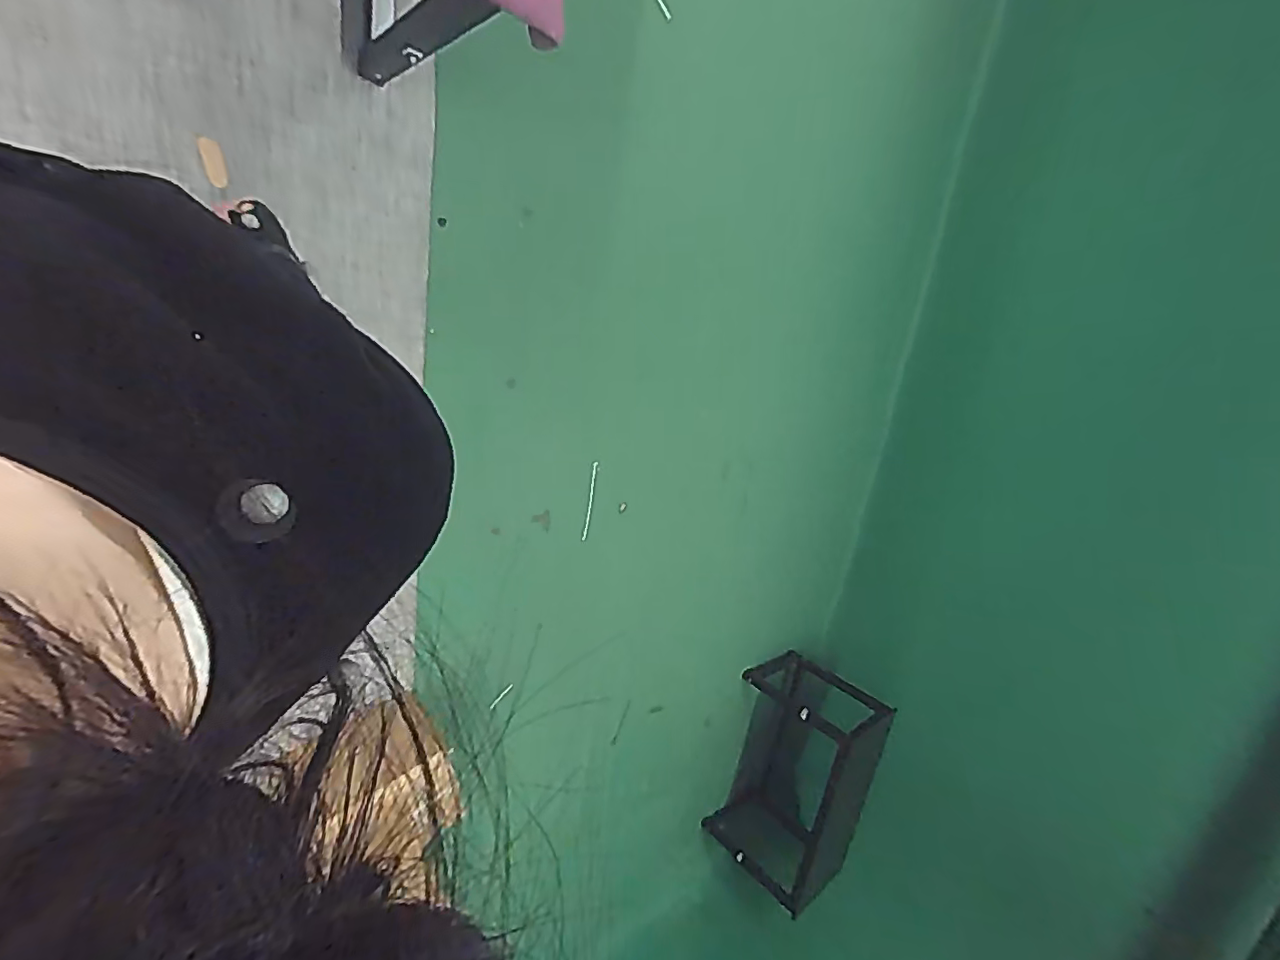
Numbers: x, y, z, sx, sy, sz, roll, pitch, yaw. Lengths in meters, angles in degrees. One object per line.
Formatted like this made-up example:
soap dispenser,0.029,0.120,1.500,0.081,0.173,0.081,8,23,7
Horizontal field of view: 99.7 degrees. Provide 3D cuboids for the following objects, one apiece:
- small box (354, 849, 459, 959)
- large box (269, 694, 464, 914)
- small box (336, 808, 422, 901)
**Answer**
small box,-0.567,1.057,1.305,0.179,0.176,0.168,-23,121,-36
large box,-0.806,0.936,1.617,0.408,0.320,0.320,-23,123,-38
small box,-0.675,1.007,1.419,0.168,0.176,0.179,-21,120,-37
